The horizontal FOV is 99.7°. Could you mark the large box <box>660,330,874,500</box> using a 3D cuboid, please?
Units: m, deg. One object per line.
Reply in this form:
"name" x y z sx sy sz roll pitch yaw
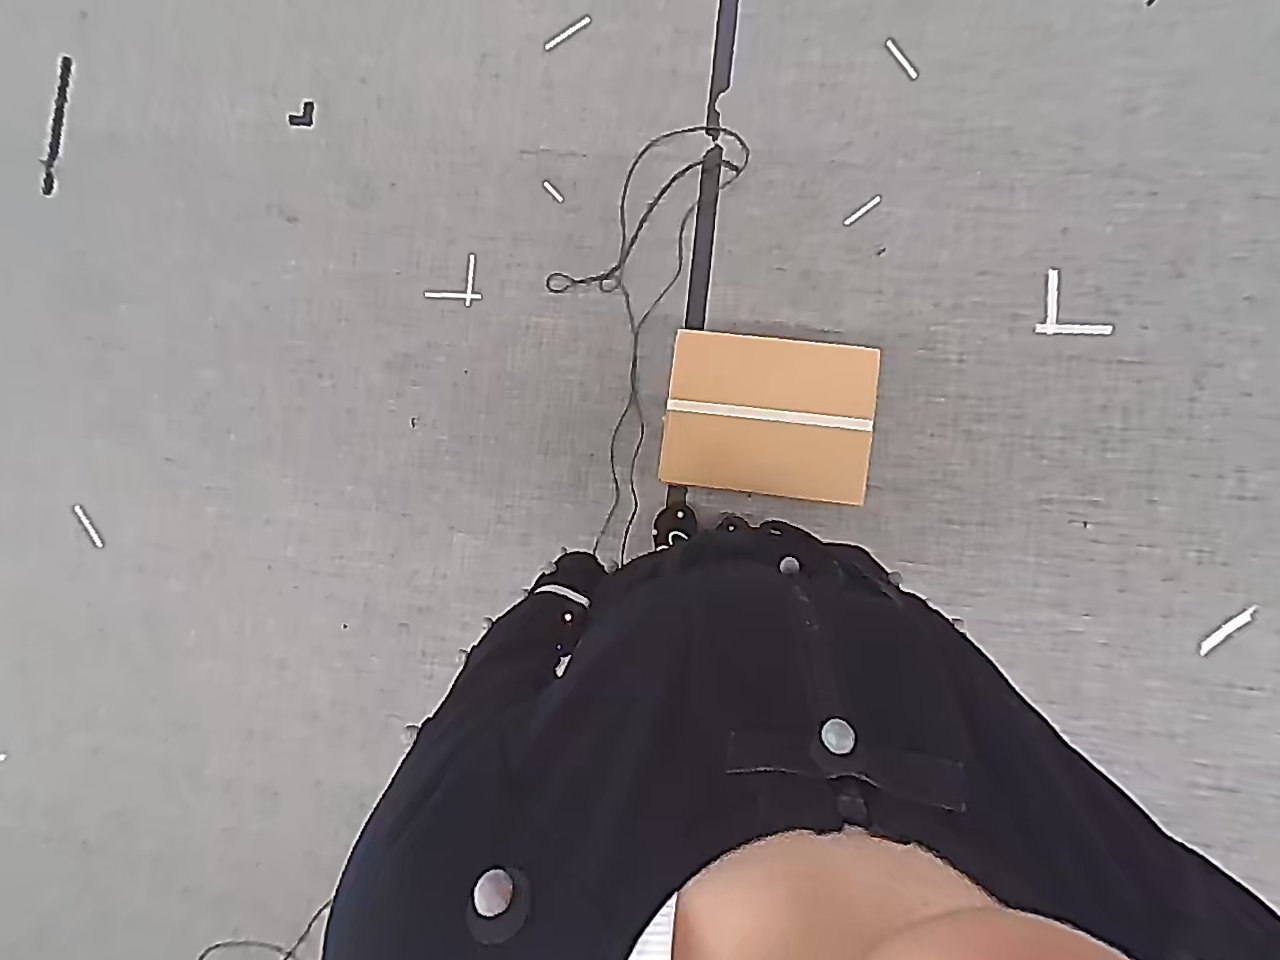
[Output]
"large box" 0.262 -0.129 1.231 0.408 0.320 0.320 7 90 4
